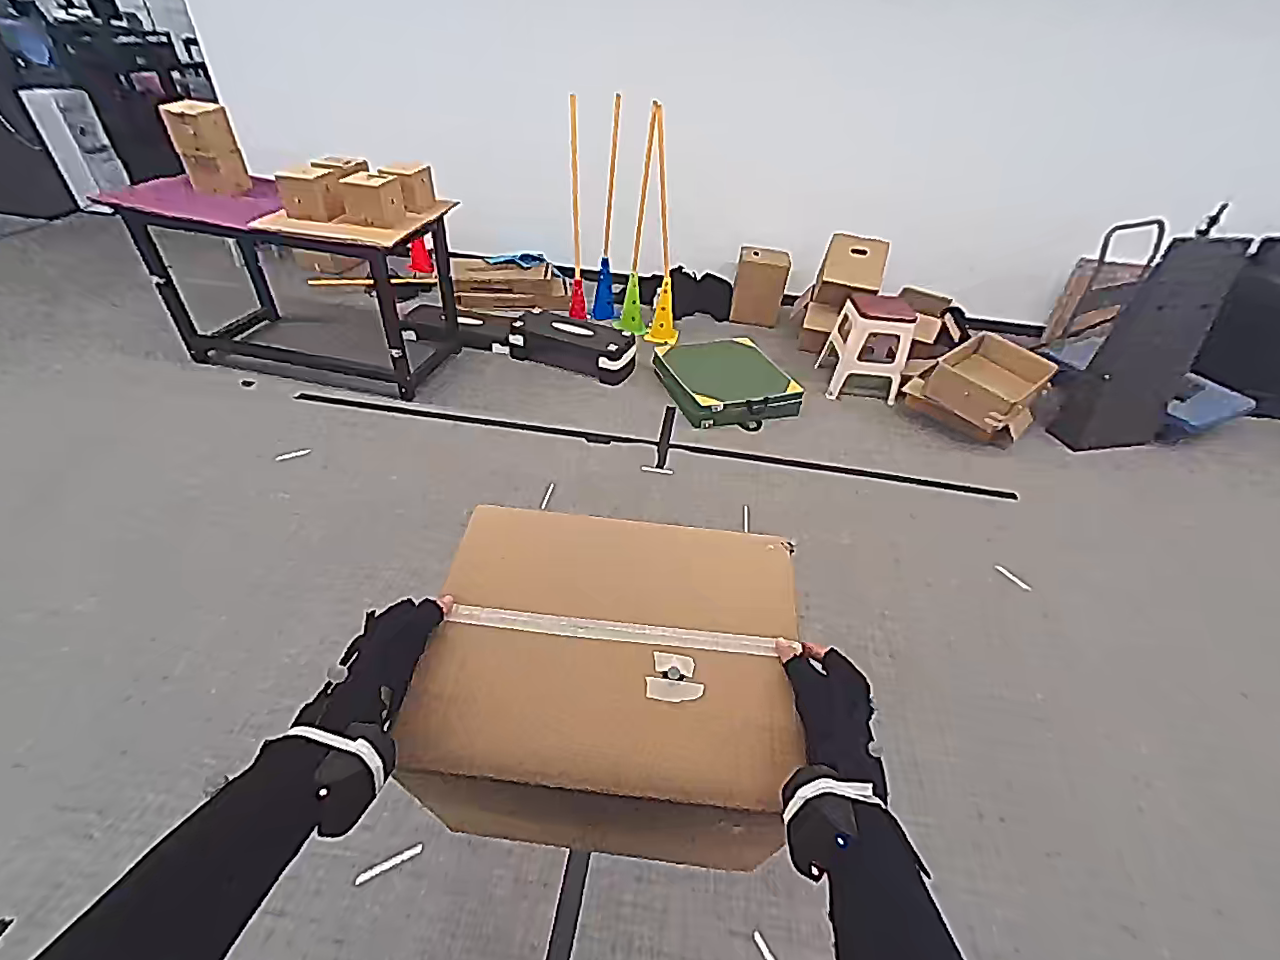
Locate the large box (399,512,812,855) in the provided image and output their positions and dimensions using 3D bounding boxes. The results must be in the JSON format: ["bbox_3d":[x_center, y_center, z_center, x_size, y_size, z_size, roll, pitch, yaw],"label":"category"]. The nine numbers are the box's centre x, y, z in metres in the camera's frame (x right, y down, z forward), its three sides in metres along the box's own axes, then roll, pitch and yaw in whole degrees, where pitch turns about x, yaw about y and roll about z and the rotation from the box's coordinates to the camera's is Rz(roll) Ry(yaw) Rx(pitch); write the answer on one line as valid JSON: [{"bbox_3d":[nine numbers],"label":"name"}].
[{"bbox_3d":[-0.032,0.271,0.717,0.408,0.320,0.320,6,47,1],"label":"large box"}]
